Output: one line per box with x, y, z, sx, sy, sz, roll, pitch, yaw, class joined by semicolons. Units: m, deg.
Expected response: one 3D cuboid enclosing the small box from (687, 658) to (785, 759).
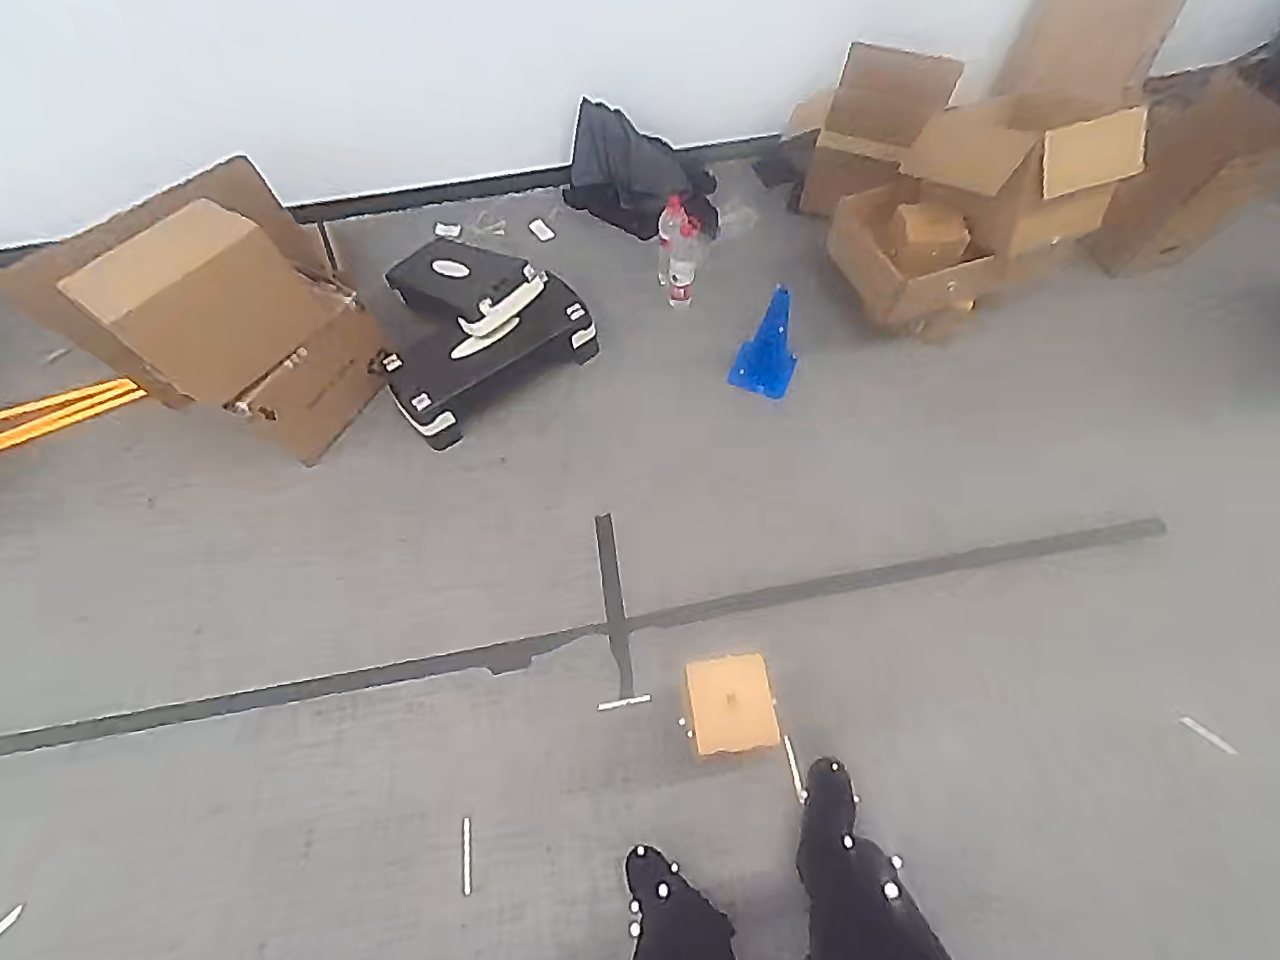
0.196;0.494;1.162;0.168;0.176;0.179;-8;64;-1;small box

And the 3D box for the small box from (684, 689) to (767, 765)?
0.209;0.577;1.302;0.179;0.176;0.168;-12;63;-2;small box
